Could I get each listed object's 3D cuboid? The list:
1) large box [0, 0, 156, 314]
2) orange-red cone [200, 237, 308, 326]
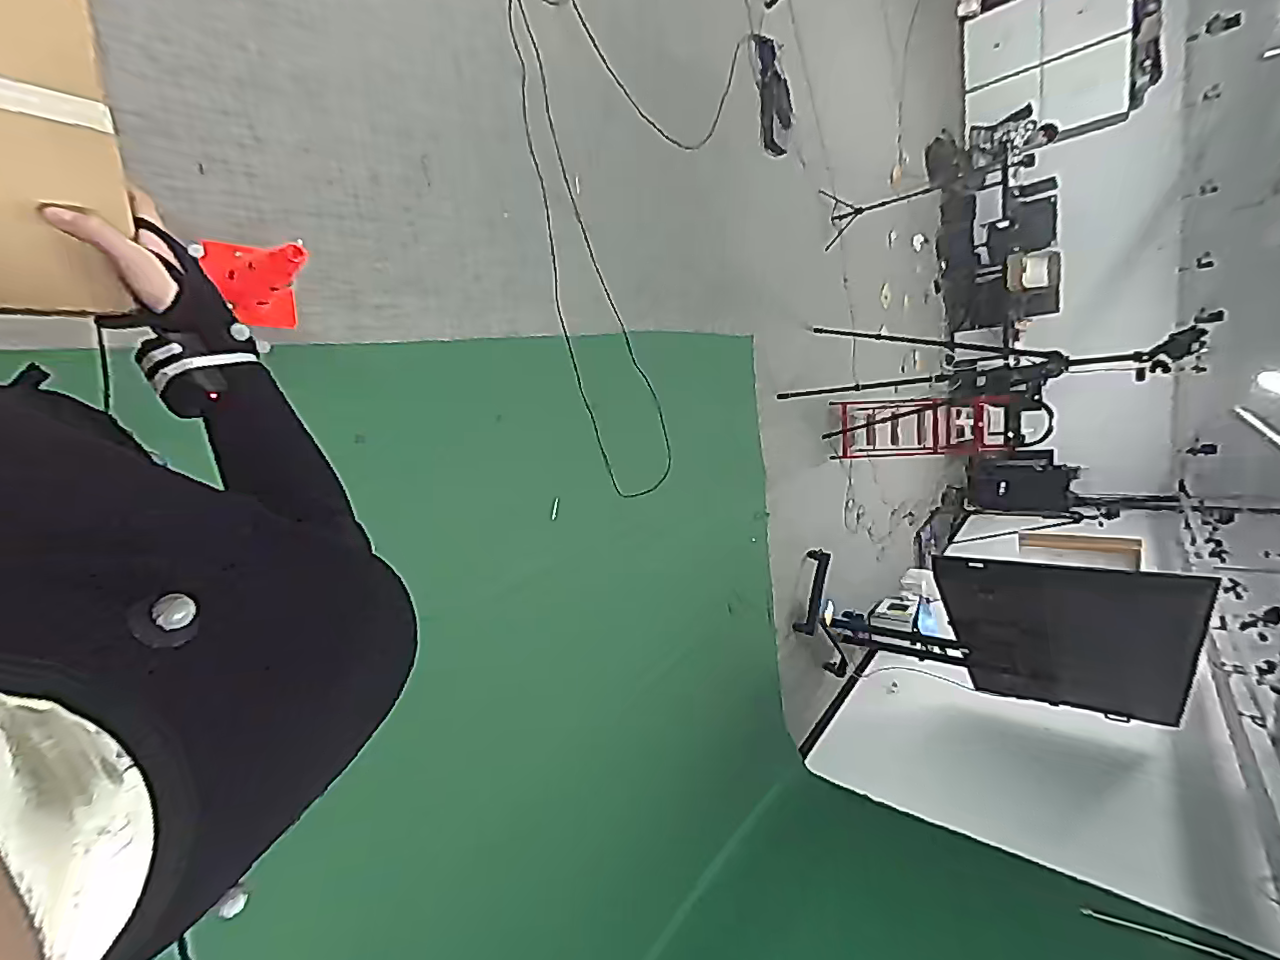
[{"bbox_3d":[-0.693,-0.295,0.413,0.408,0.320,0.320,-16,114,-48],"label":"large box"},{"bbox_3d":[-0.877,-0.503,1.291,0.199,0.360,0.198,-9,99,-51],"label":"orange-red cone"}]
